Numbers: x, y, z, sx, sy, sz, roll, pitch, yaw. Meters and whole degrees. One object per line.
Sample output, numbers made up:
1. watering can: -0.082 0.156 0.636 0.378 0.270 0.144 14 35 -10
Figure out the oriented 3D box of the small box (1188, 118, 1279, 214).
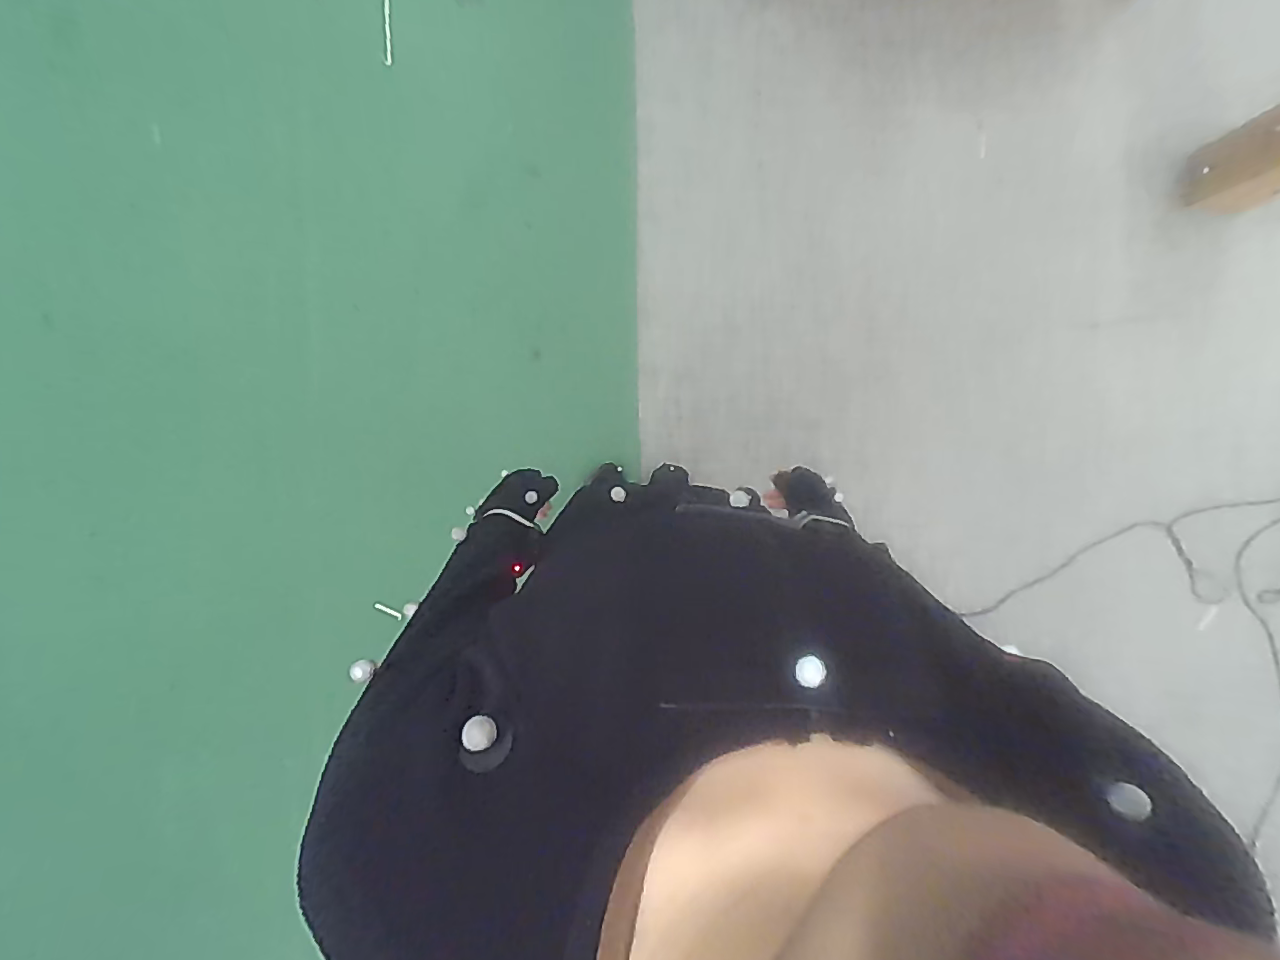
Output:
1. small box: 1.700 -0.864 1.503 0.179 0.176 0.168 4 89 -3
